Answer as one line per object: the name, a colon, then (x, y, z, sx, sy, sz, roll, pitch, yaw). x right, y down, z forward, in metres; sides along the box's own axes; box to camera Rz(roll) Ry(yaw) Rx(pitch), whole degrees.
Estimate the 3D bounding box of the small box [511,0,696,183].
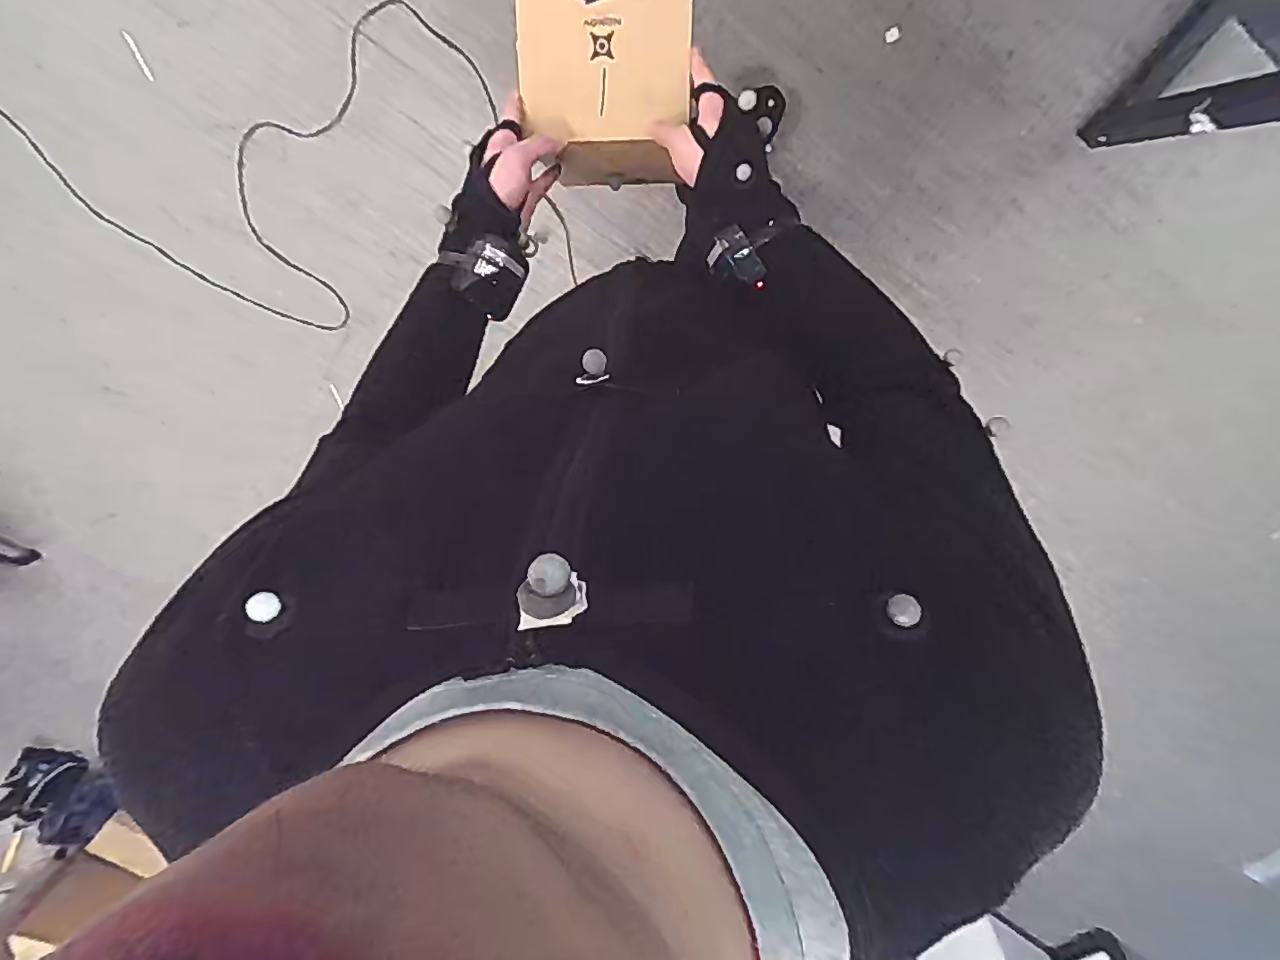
small box: (-0.027, -0.427, 0.559, 0.168, 0.176, 0.179, 2, 106, 6)
